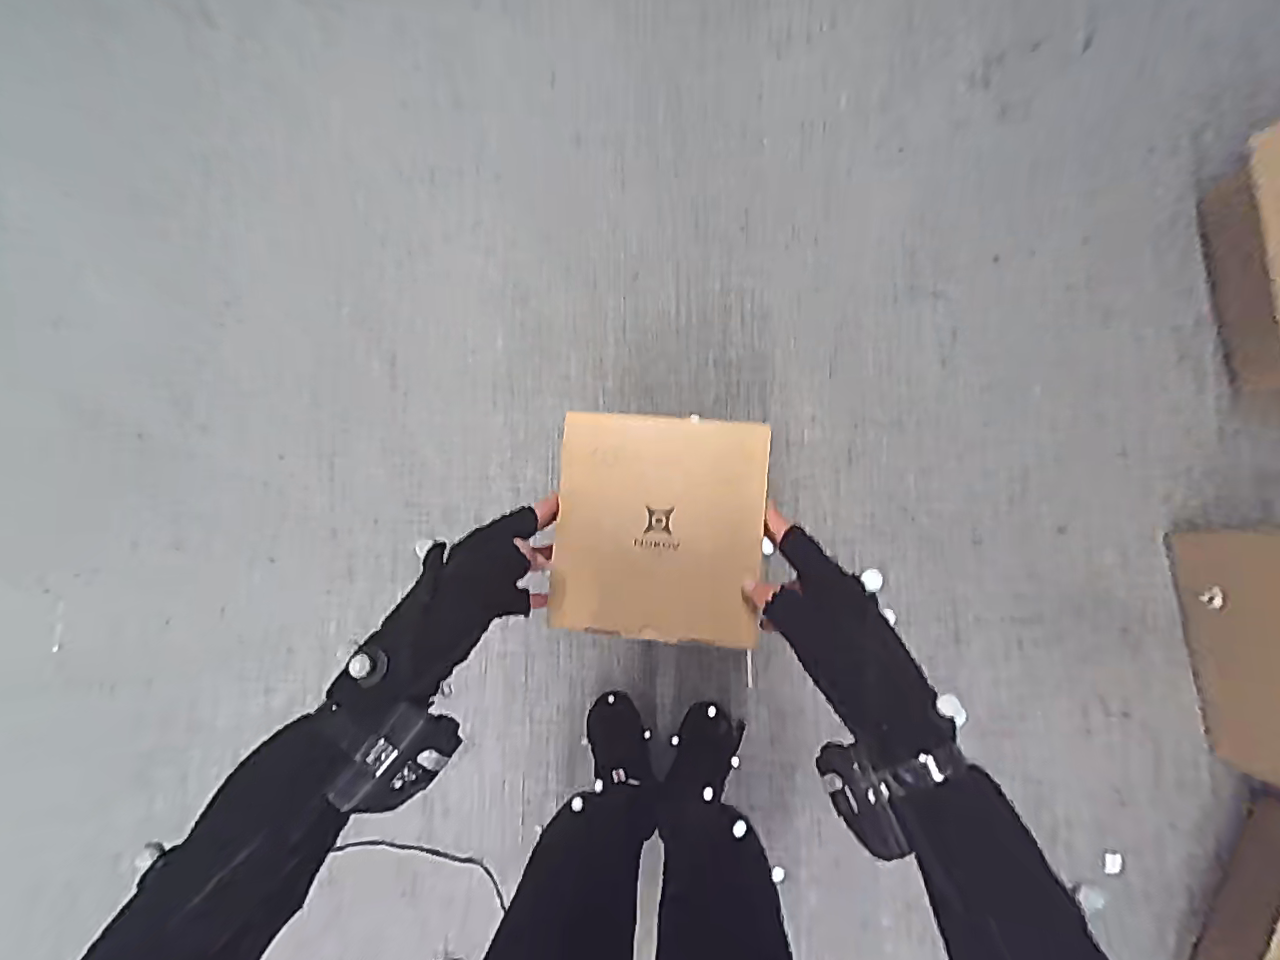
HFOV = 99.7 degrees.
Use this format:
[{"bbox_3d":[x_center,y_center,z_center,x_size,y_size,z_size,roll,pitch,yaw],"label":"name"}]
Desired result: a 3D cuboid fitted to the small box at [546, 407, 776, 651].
[{"bbox_3d":[0.021,0.040,0.493,0.168,0.176,0.179,4,87,5],"label":"small box"}]
